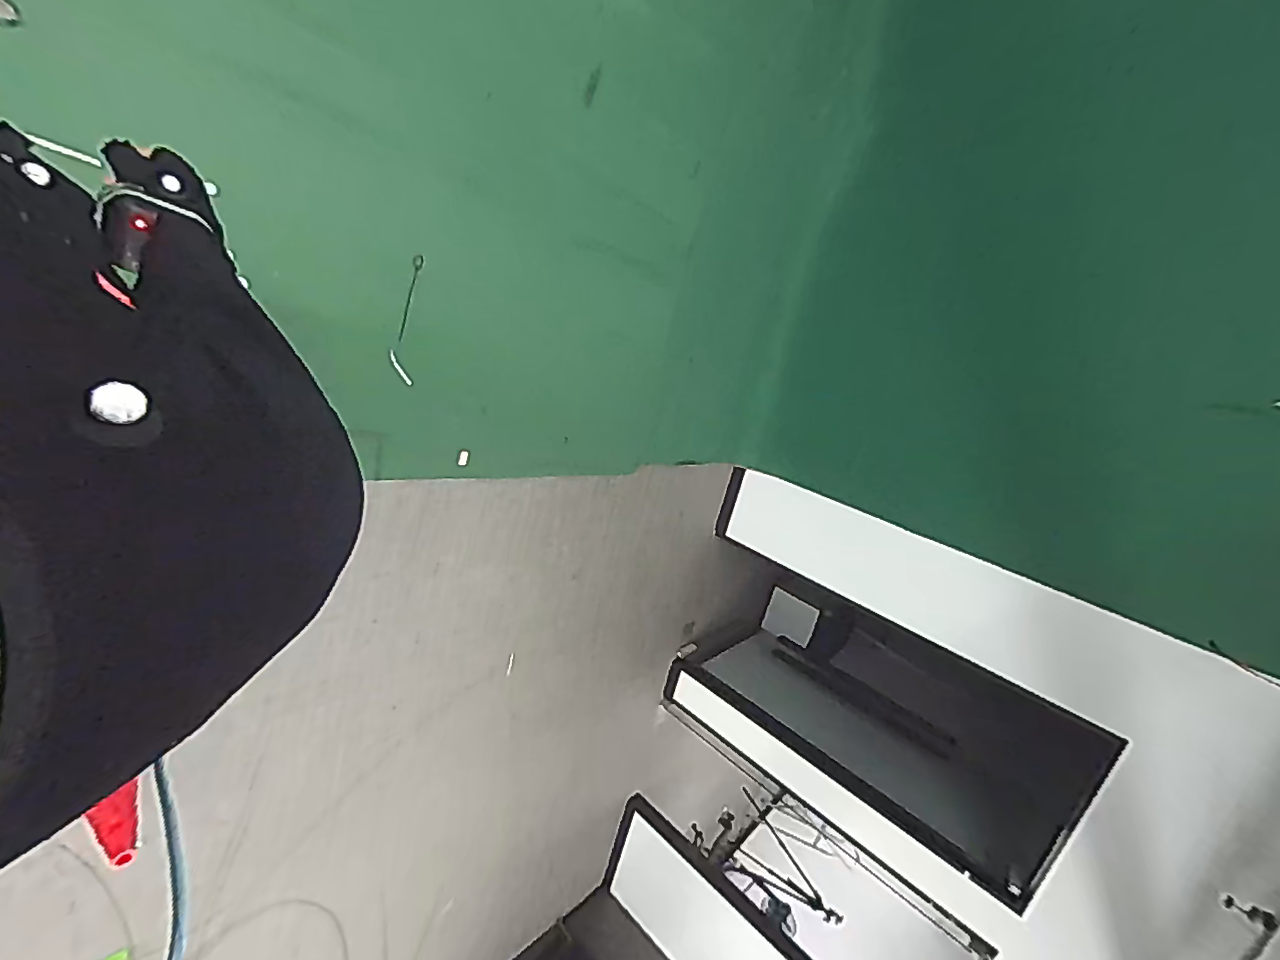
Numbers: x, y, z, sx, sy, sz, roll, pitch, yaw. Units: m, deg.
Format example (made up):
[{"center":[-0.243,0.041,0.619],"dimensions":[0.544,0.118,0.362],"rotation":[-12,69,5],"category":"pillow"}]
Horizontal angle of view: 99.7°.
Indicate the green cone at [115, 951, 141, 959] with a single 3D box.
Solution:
[{"center":[-1.418,1.512,1.417],"dimensions":[0.202,0.368,0.200],"rotation":[-5,114,-48],"category":"green cone"}]
